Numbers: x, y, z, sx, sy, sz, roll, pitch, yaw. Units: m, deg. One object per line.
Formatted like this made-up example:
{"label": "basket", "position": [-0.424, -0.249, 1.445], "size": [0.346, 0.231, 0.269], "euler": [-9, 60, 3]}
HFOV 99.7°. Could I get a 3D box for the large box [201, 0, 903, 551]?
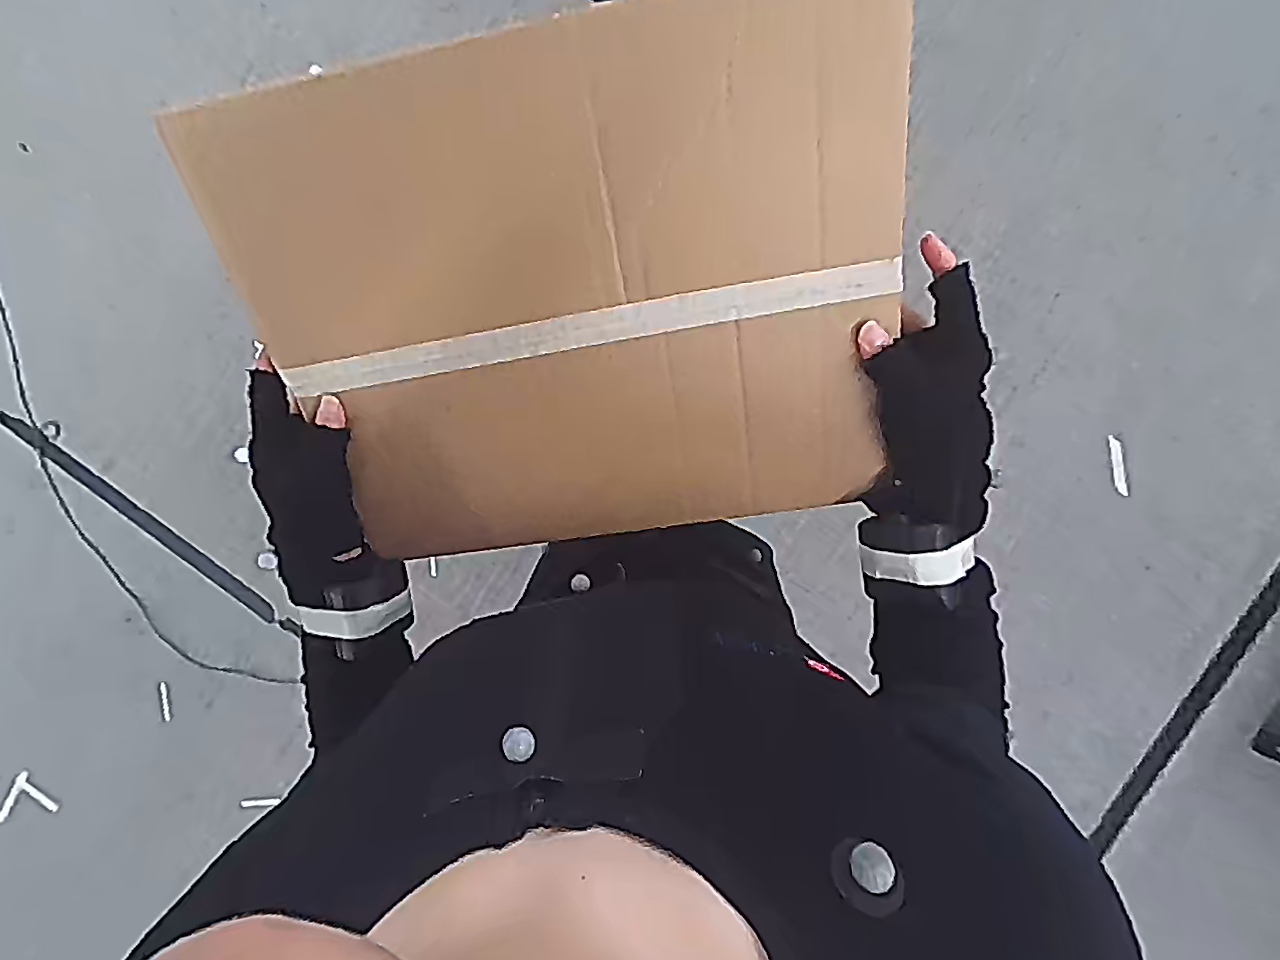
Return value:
{"label": "large box", "position": [-0.034, -0.170, 0.489], "size": [0.408, 0.320, 0.320], "euler": [-8, 119, 6]}
